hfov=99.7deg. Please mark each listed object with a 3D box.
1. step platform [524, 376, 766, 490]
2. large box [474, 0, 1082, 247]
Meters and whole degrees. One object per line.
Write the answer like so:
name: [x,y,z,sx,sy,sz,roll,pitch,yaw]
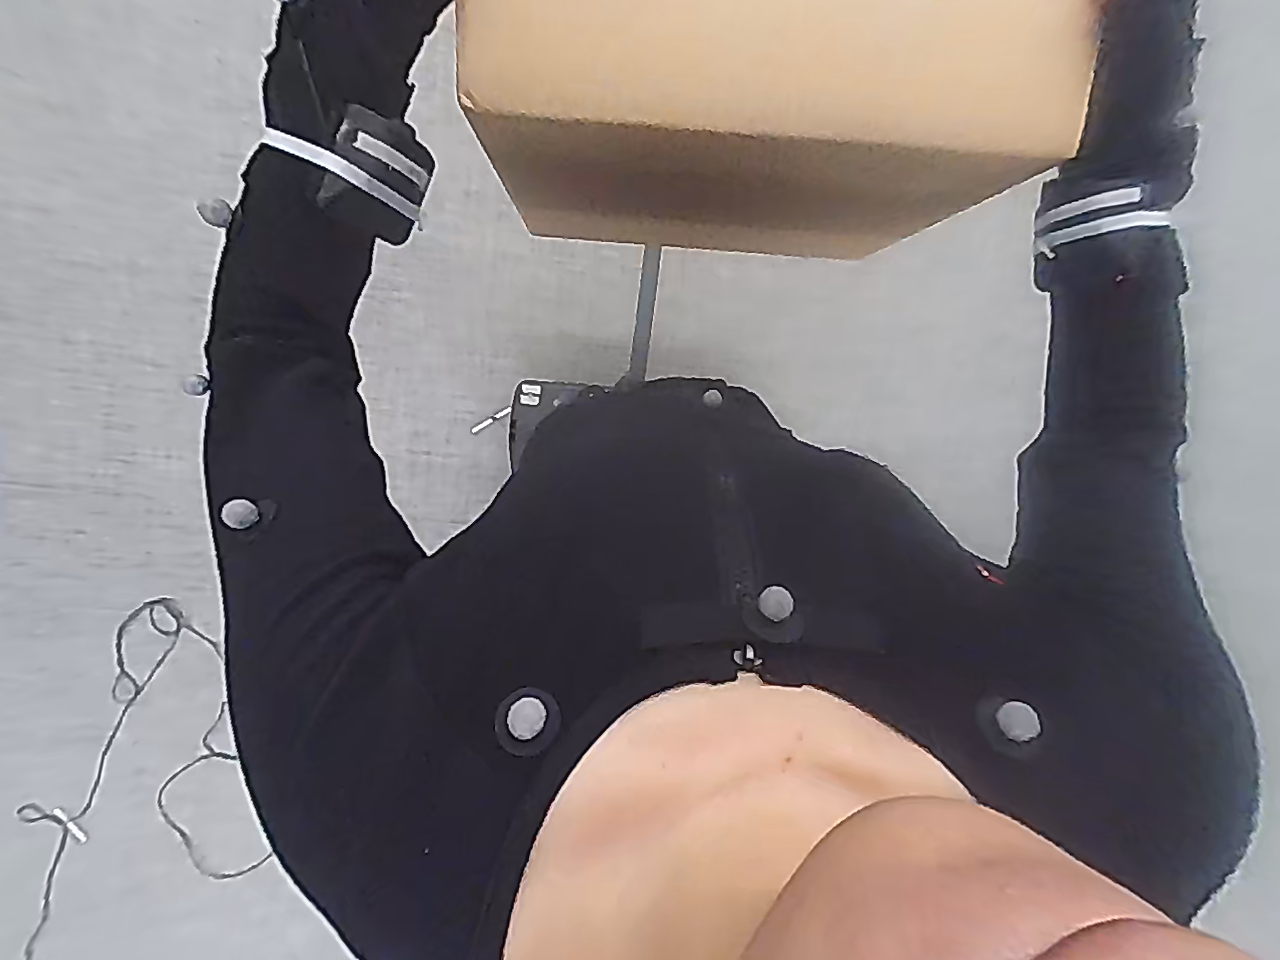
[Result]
step platform: [0.014,-0.135,1.561,0.684,0.204,0.286,3,97,-4]
large box: [0.085,-0.410,0.478,0.408,0.320,0.320,2,101,-4]
